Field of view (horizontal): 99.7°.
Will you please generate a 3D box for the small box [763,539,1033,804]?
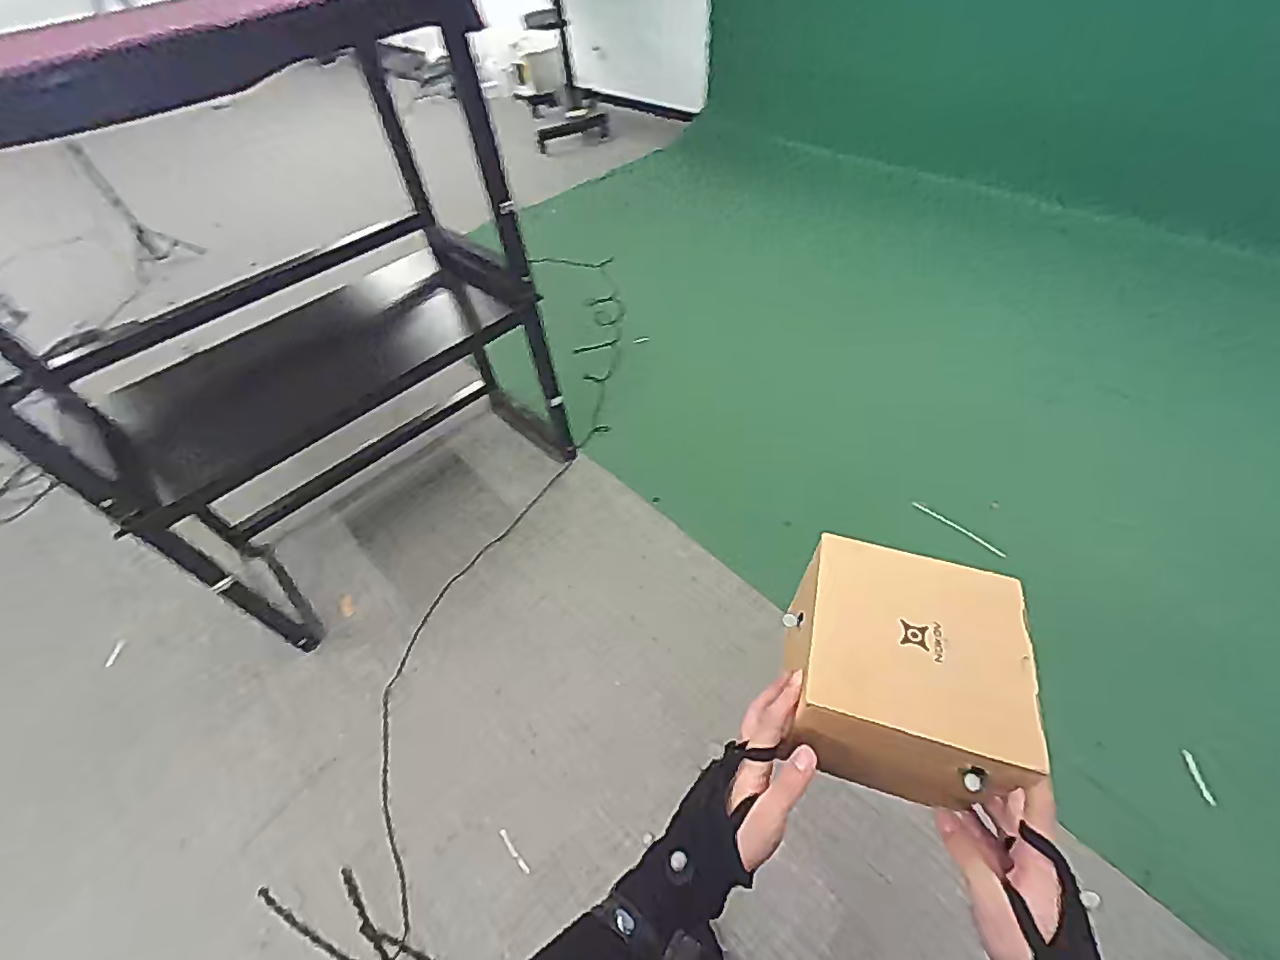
[{"bbox_3d":[0.222,0.184,0.512,0.179,0.176,0.168,12,52,11],"label":"small box"}]
